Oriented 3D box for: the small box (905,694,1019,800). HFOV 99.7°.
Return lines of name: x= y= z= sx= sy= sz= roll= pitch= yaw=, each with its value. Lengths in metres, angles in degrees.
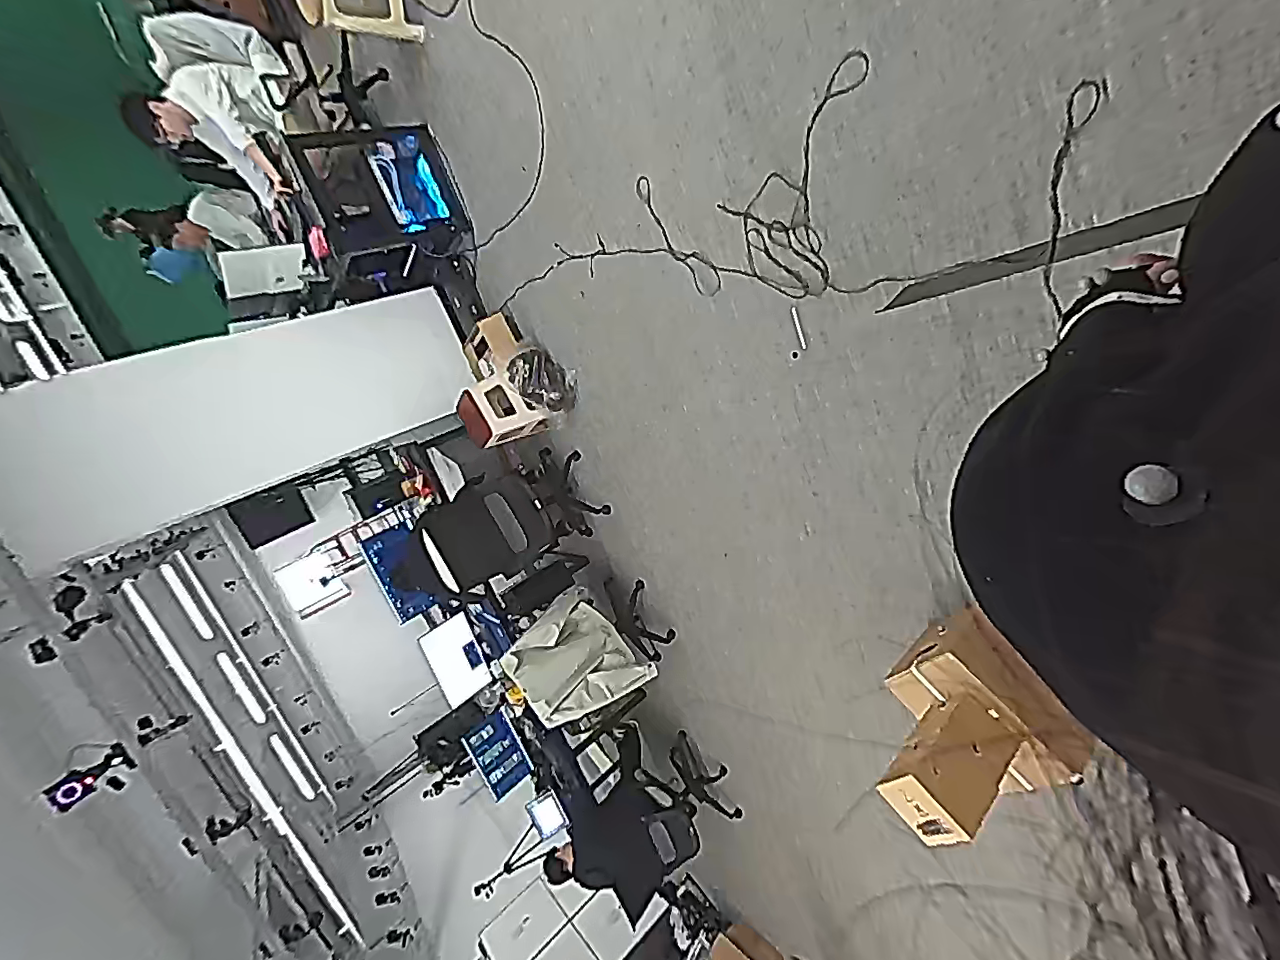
small box: x=0.872 y=0.721 z=1.465 sx=0.179 sy=0.176 sz=0.168 roll=48 pitch=145 yaw=22
